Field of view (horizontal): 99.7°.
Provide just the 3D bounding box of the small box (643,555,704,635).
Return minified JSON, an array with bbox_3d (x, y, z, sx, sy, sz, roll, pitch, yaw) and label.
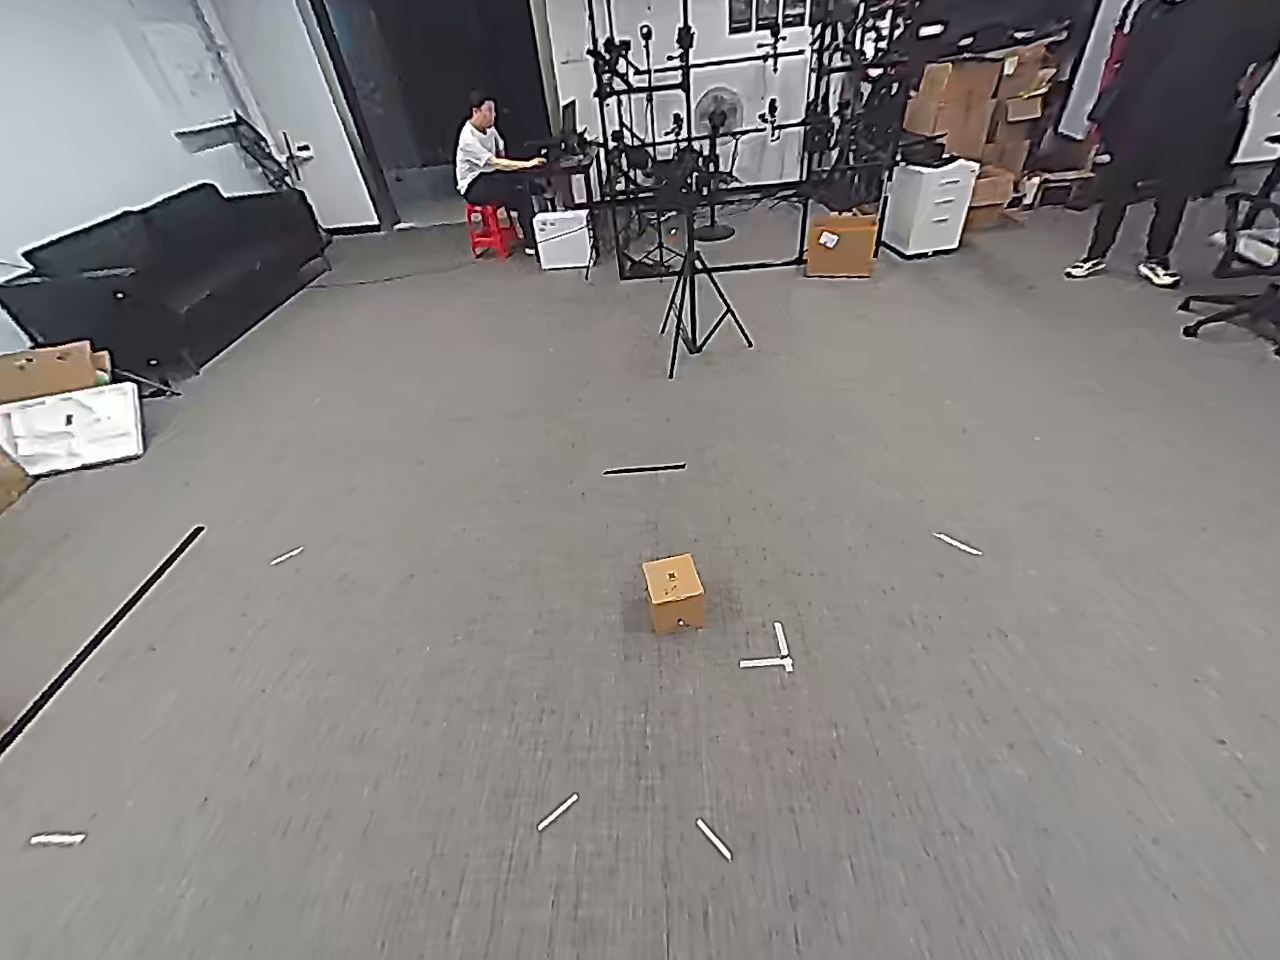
[{"bbox_3d":[0.110,0.378,1.782,0.168,0.176,0.179,-12,40,-5],"label":"small box"}]
